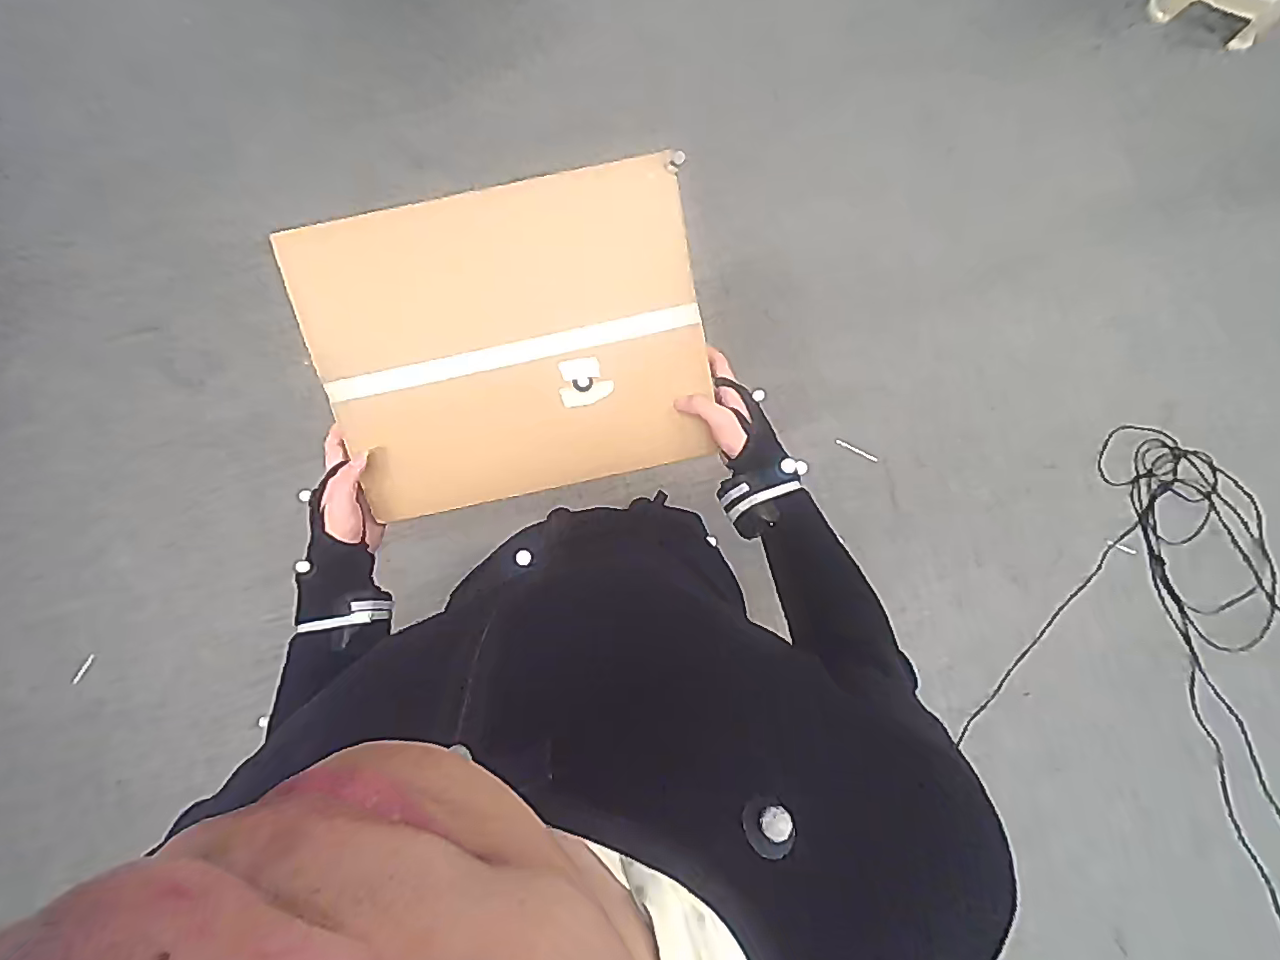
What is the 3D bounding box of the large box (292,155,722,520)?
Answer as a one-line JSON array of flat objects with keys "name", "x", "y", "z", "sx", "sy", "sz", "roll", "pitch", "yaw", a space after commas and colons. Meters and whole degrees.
[{"name": "large box", "x": -0.140, "y": -0.179, "z": 0.726, "sx": 0.408, "sy": 0.320, "sz": 0.320, "roll": -13, "pitch": 107, "yaw": -1}]
